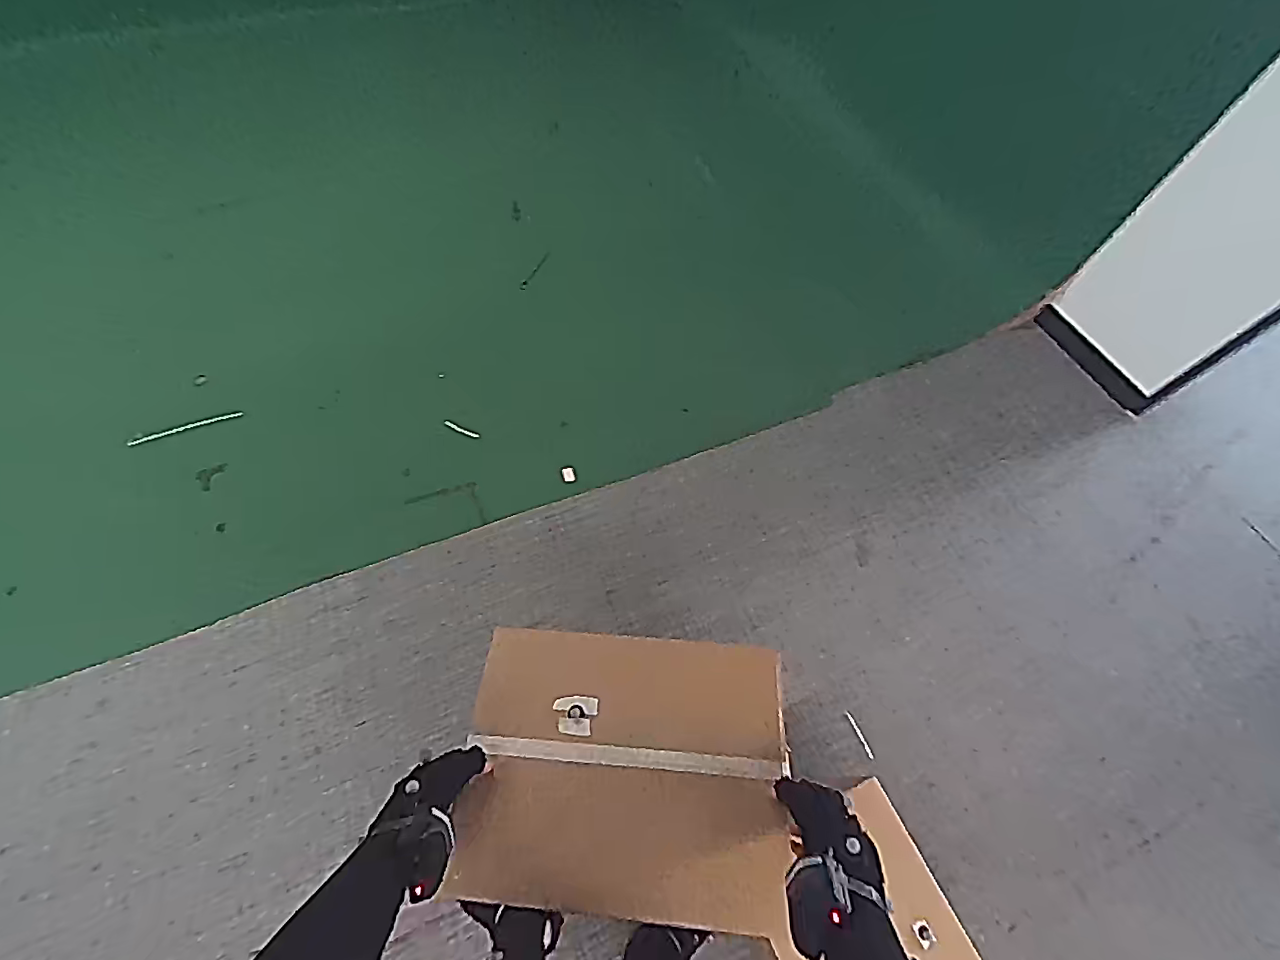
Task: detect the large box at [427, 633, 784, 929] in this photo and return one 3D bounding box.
[{"bbox_3d":[-0.023,0.431,0.796,0.408,0.320,0.320,1,54,6],"label":"large box"}]
